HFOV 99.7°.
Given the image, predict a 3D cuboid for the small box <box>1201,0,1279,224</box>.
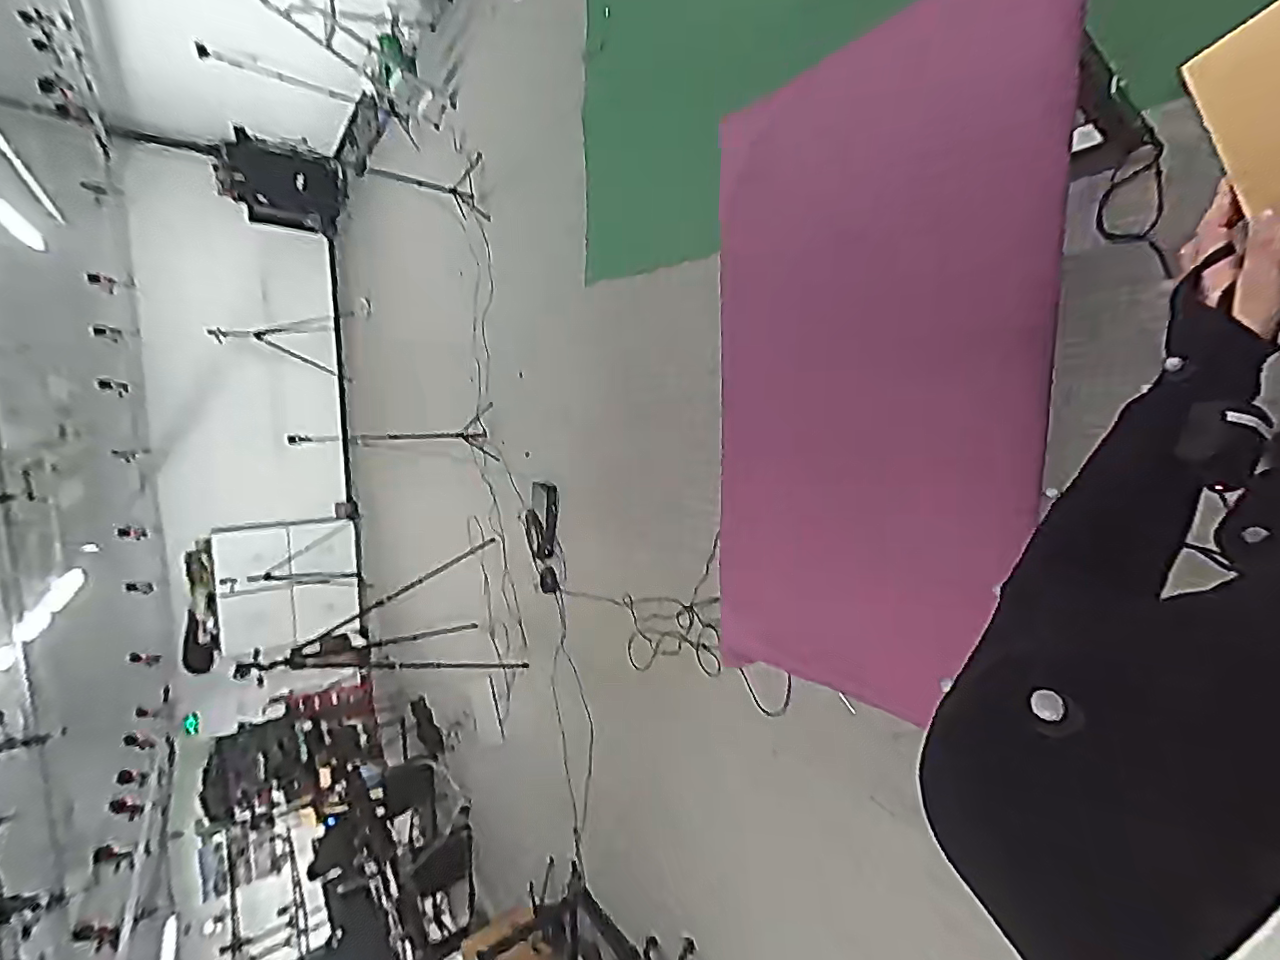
[{"bbox_3d":[0.608,-0.315,0.429,0.168,0.176,0.179,-27,73,58],"label":"small box"}]
